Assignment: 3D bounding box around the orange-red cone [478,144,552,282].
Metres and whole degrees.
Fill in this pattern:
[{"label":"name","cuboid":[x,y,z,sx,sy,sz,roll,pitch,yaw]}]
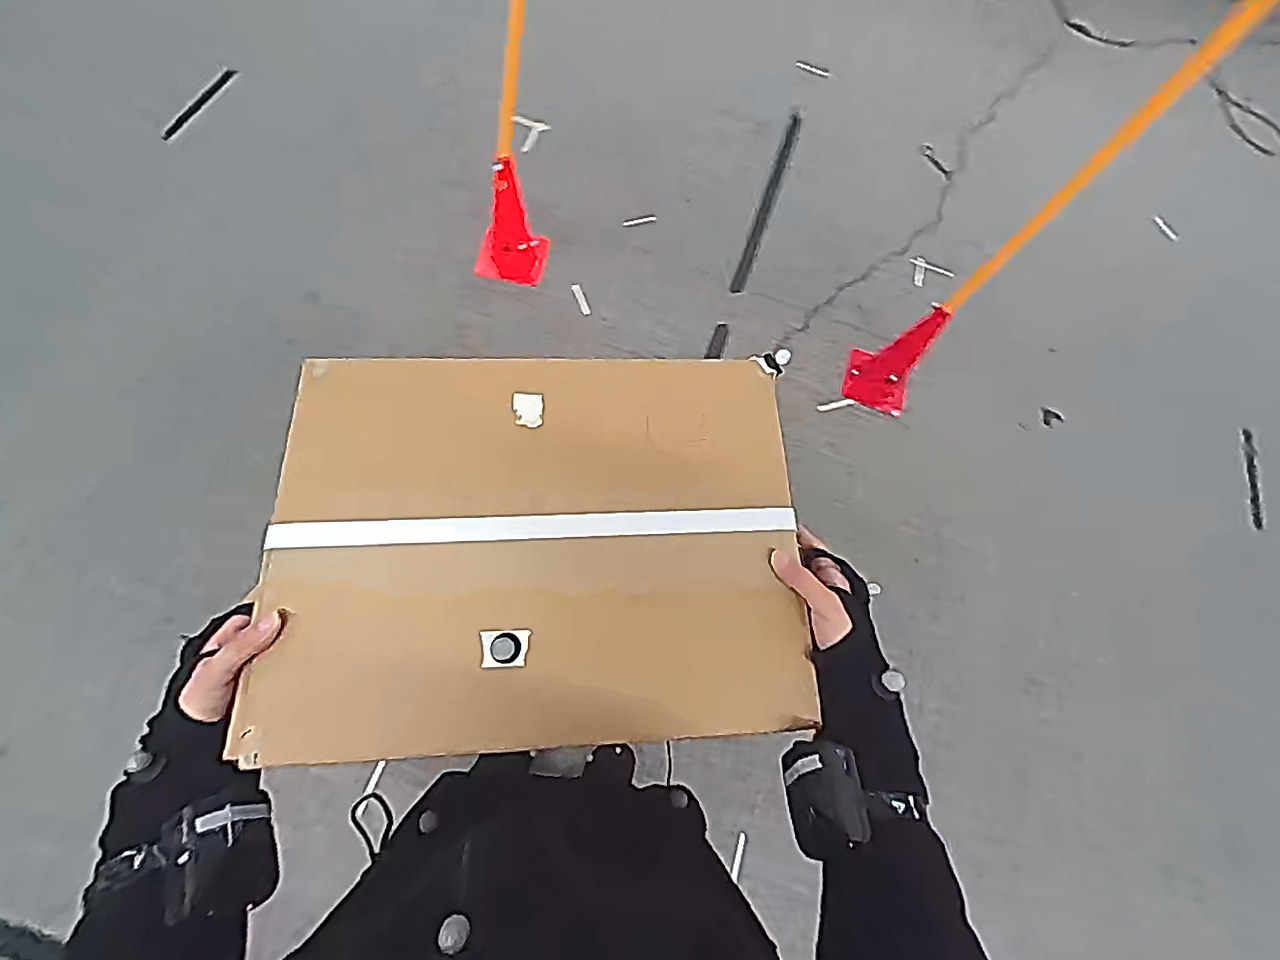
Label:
[{"label":"orange-red cone","cuboid":[-0.365,-0.770,1.527,0.199,0.360,0.198,12,67,-3]}]
